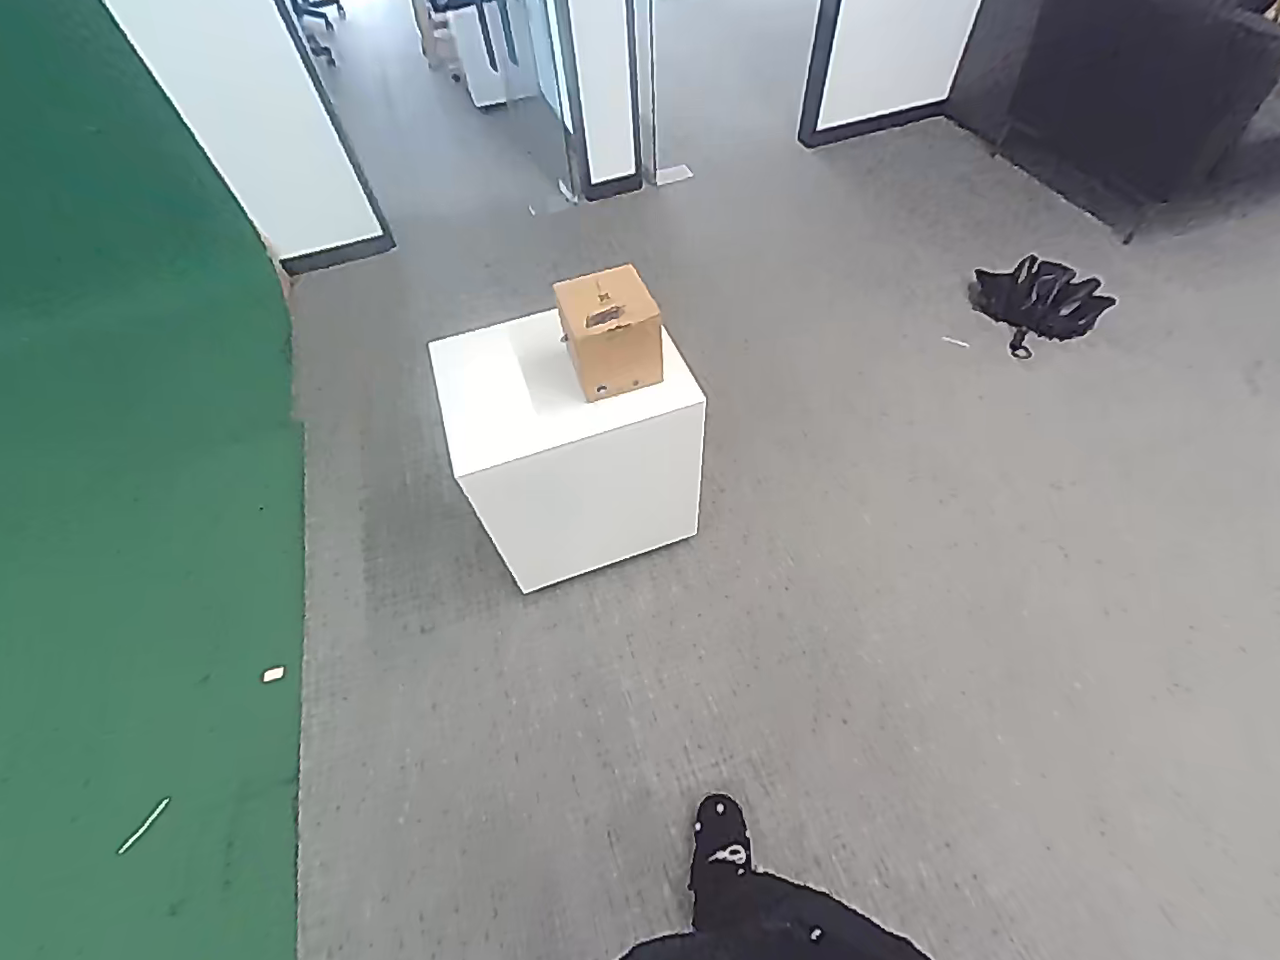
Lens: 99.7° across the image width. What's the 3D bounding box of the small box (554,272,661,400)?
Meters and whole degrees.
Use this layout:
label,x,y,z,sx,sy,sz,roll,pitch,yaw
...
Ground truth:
label,x,y,z,sx,sy,sz,roll,pitch,yaw
small box,-0.060,-0.282,1.090,0.168,0.176,0.179,-17,55,-8
